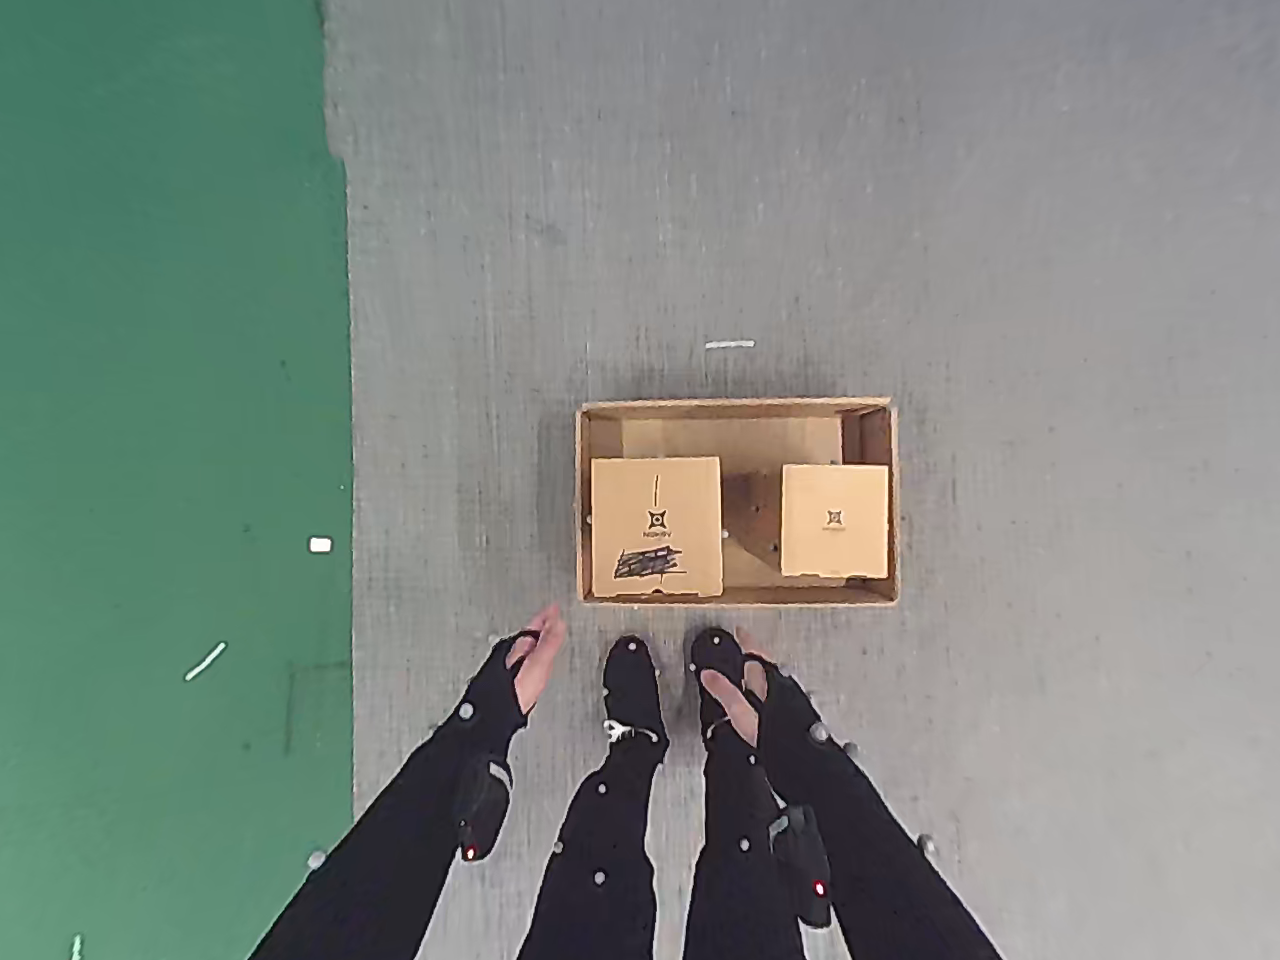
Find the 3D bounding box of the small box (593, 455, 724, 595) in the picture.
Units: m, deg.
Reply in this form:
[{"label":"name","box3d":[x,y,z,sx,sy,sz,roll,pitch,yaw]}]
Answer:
[{"label":"small box","box3d":[0.026,0.057,0.755,0.168,0.176,0.179,-1,88,1]}]

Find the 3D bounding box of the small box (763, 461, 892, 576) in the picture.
[{"label":"small box","box3d":[0.307,0.061,0.913,0.168,0.176,0.179,1,90,2]}]
